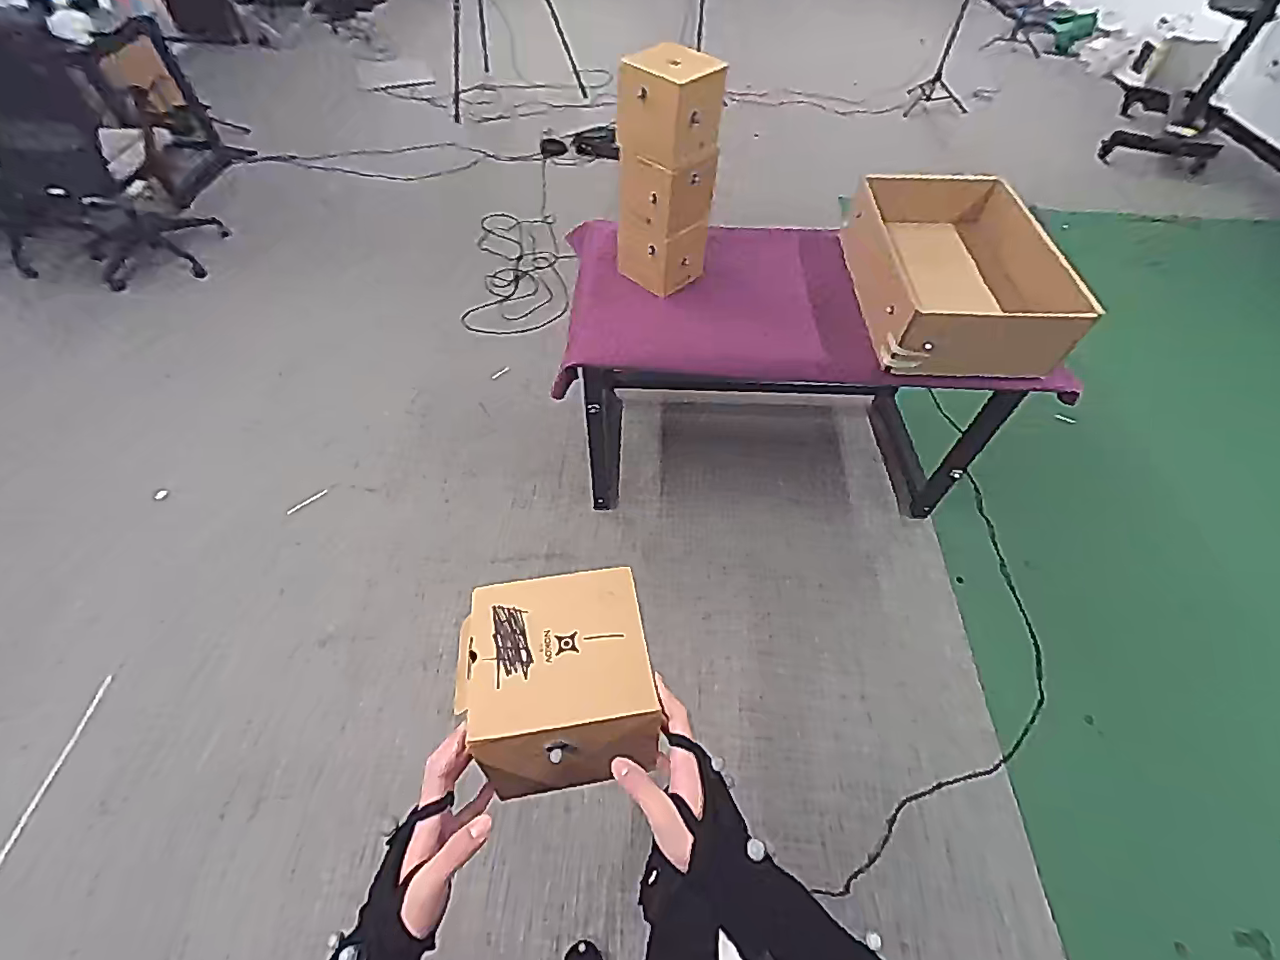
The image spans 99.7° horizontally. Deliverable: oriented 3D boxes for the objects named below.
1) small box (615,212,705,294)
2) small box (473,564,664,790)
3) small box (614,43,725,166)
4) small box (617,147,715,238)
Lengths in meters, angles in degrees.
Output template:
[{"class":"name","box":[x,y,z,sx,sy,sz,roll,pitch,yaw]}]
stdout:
[{"class":"small box","box":[0.050,-0.627,1.454,0.179,0.176,0.168,38,61,23]},{"class":"small box","box":[-0.075,0.218,0.595,0.179,0.176,0.168,-7,45,-8]},{"class":"small box","box":[0.061,-0.822,1.195,0.179,0.176,0.168,37,62,22]},{"class":"small box","box":[0.060,-0.726,1.325,0.168,0.176,0.179,39,62,22]}]
